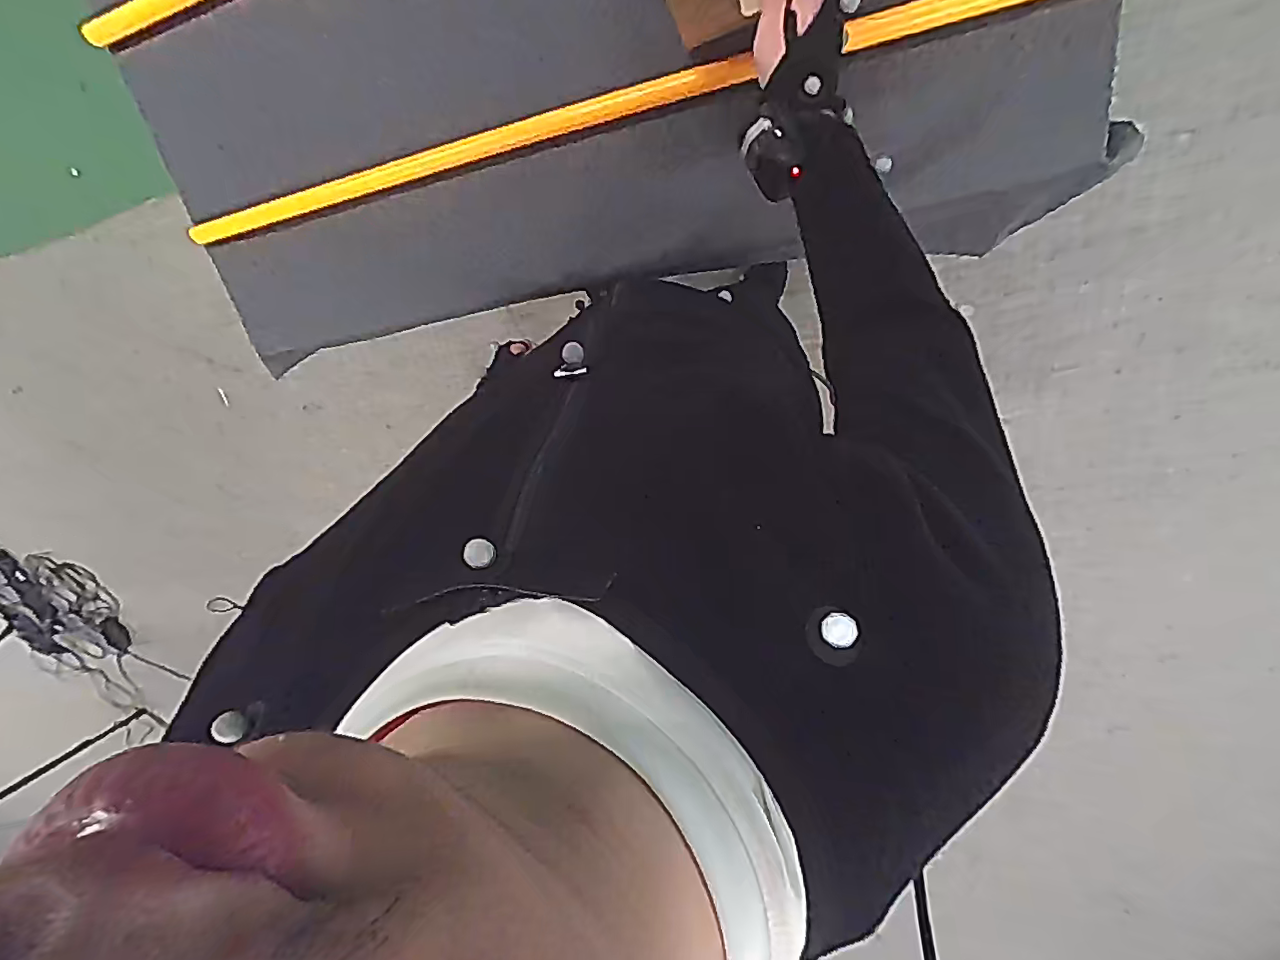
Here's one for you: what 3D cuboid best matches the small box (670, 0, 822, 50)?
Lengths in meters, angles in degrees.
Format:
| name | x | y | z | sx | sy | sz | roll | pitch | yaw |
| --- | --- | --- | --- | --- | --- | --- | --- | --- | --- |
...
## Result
| name | x | y | z | sx | sy | sz | roll | pitch | yaw |
| --- | --- | --- | --- | --- | --- | --- | --- | --- | --- |
| small box | 0.096 | -0.539 | 0.496 | 0.168 | 0.176 | 0.179 | -14 | 109 | 19 |
